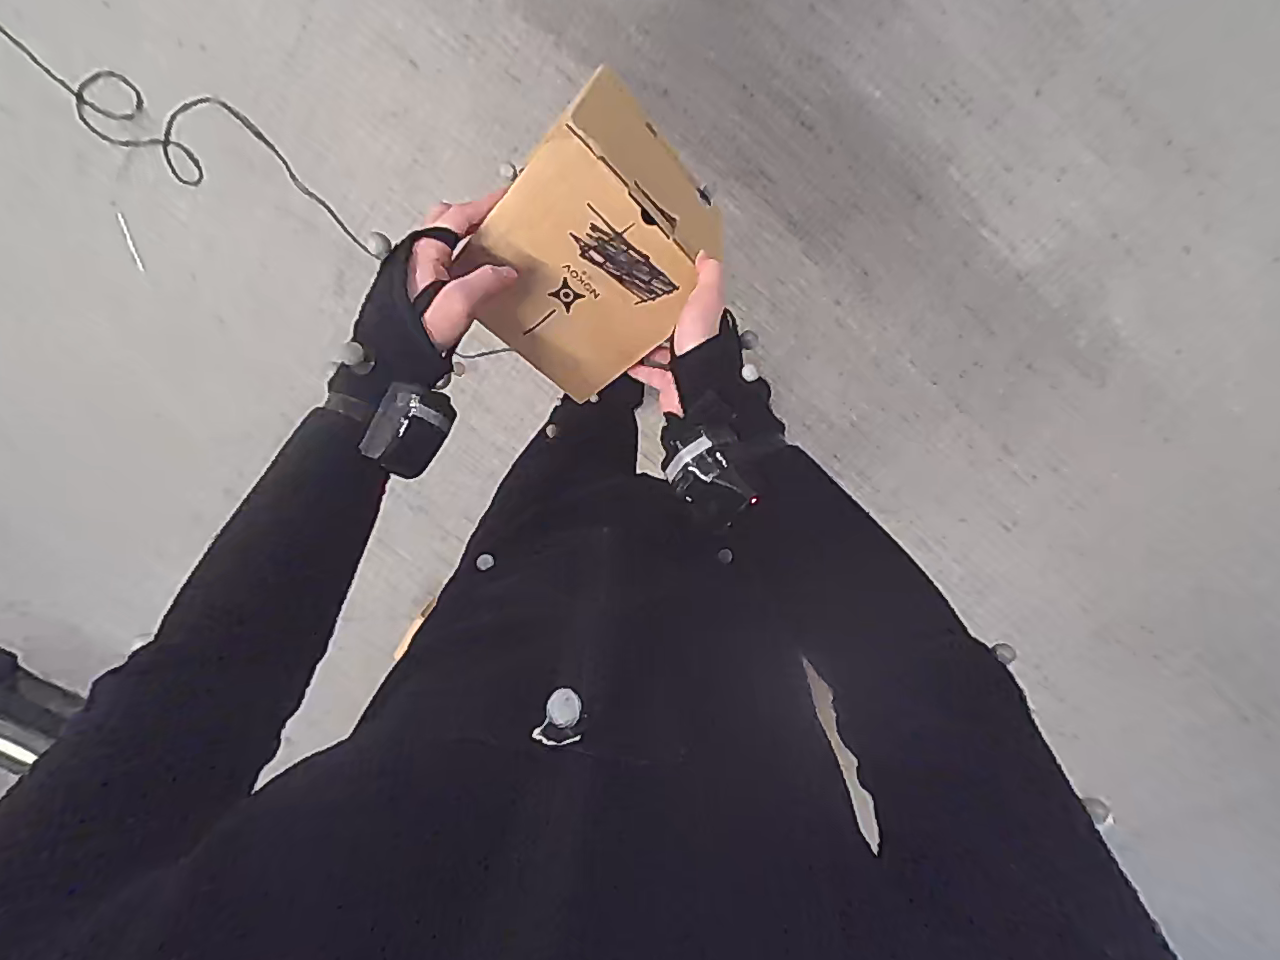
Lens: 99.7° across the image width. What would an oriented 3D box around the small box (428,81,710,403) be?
[{"bbox_3d":[-0.054,-0.212,0.491,0.168,0.176,0.179,37,131,-26],"label":"small box"}]
